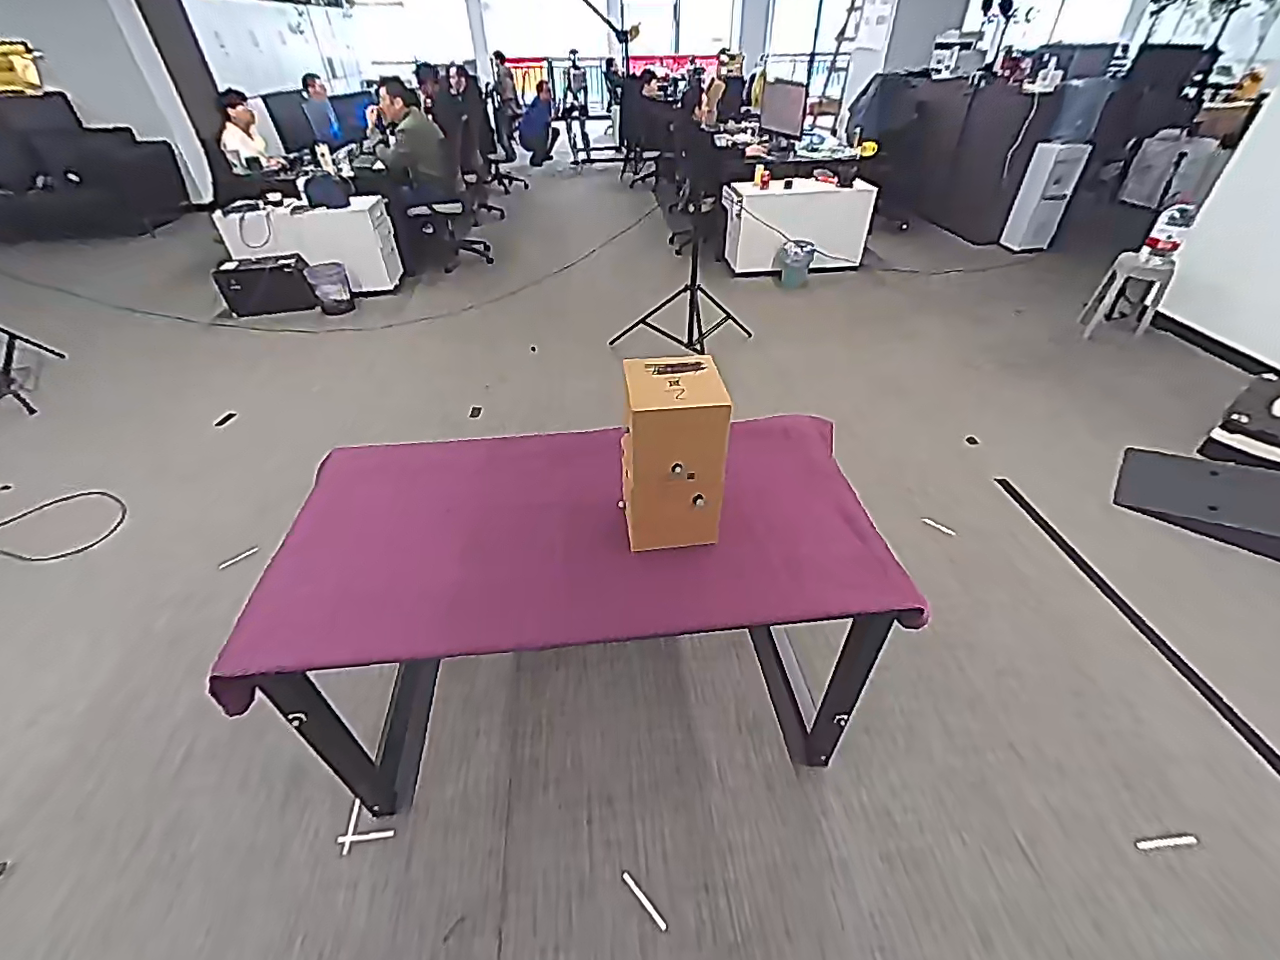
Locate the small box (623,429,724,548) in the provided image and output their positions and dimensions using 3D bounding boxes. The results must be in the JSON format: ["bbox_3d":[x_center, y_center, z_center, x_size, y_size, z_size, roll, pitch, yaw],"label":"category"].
[{"bbox_3d":[0.060,0.018,1.089,0.179,0.176,0.168,-6,39,-5],"label":"small box"}]
